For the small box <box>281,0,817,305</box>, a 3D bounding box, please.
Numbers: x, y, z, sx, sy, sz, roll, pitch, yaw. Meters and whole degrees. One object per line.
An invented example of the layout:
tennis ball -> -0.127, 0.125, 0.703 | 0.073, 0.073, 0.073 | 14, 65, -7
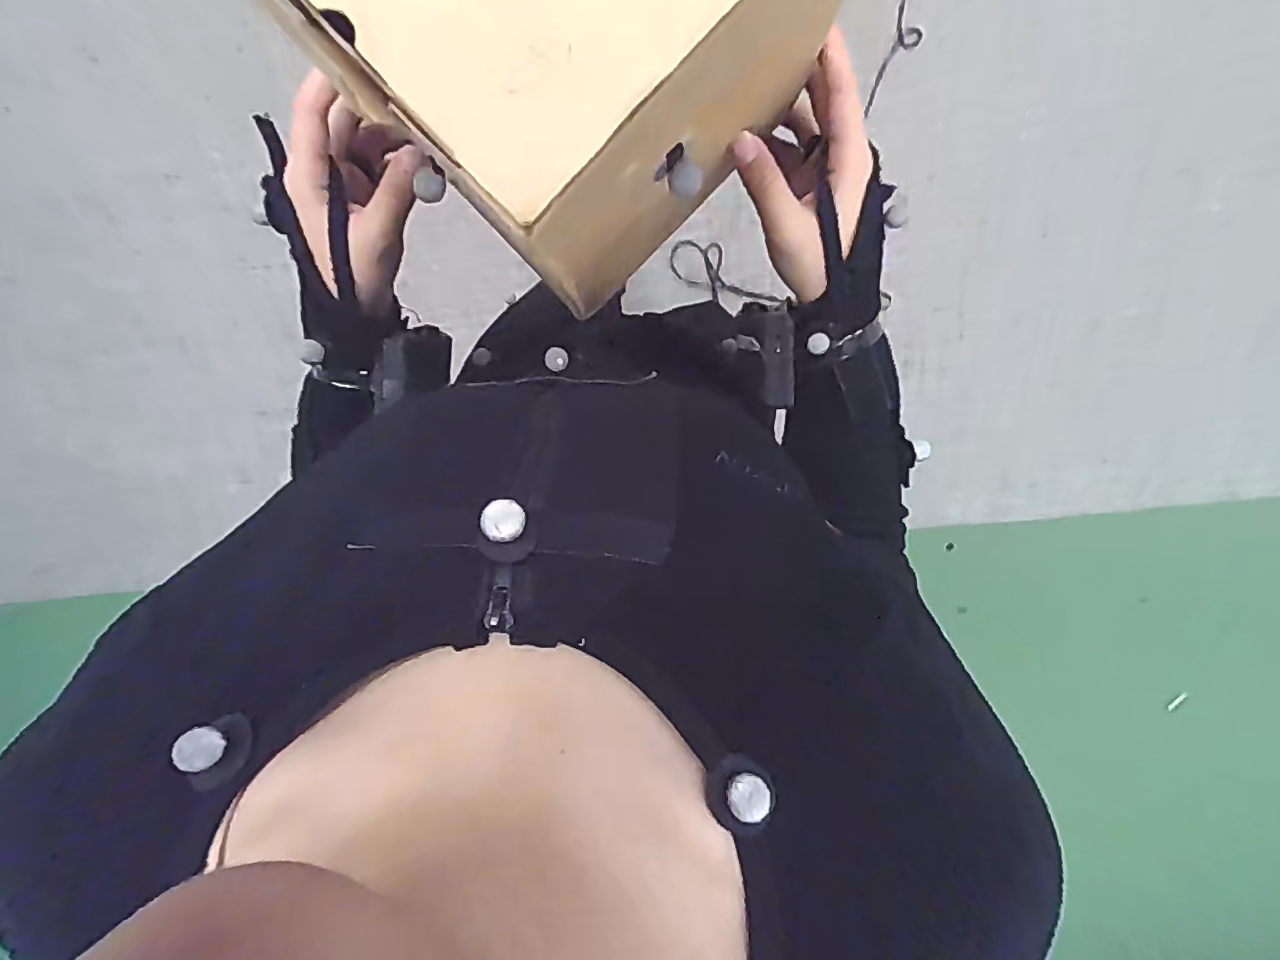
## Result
small box -> -0.031, -0.209, 0.250 | 0.168, 0.176, 0.179 | 45, 96, -4
